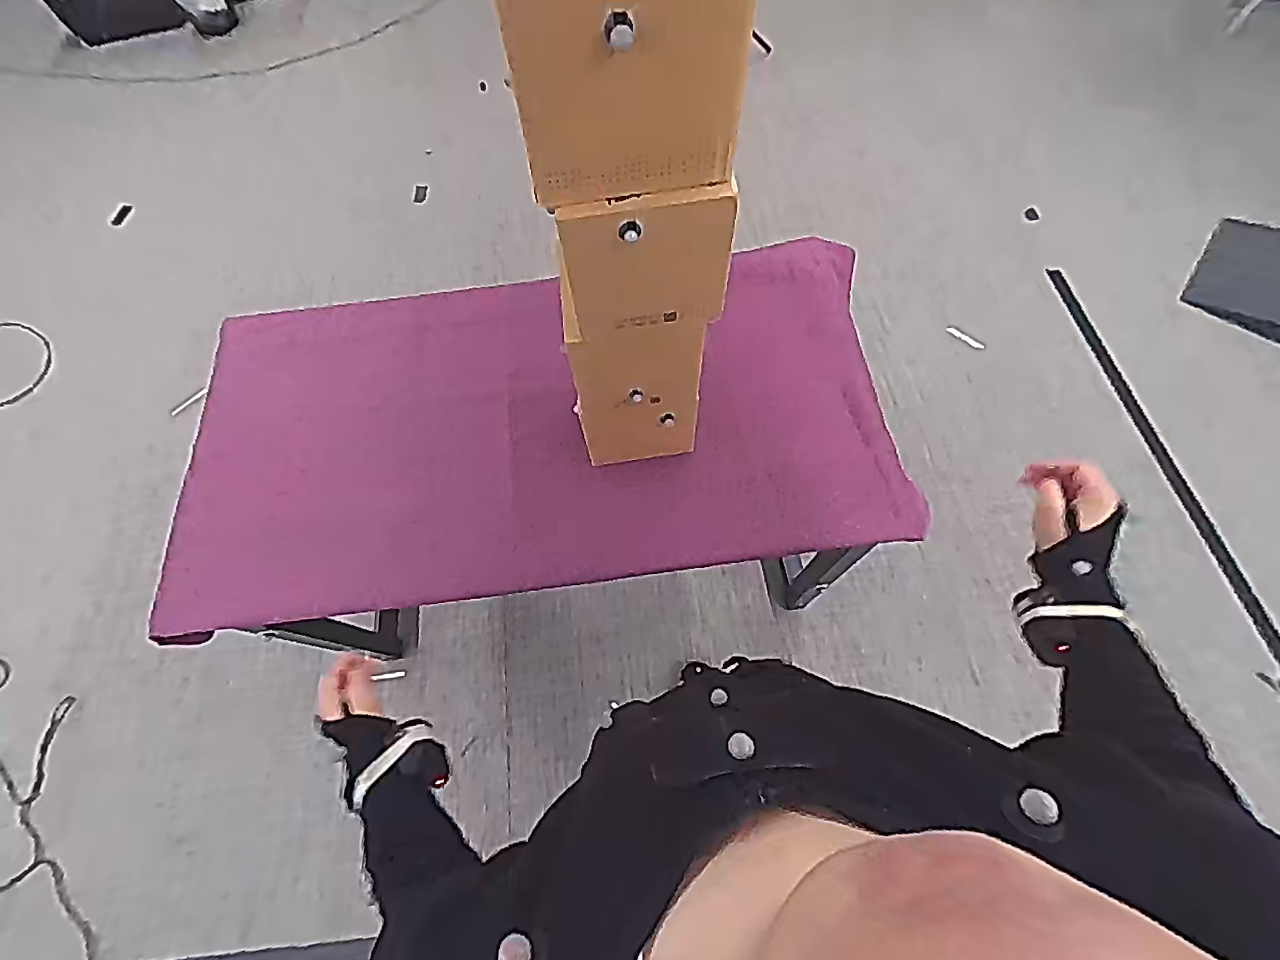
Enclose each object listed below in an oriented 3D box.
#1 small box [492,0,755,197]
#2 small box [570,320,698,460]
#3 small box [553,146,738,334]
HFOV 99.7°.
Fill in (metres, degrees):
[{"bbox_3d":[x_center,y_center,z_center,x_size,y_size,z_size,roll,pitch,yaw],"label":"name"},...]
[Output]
[{"bbox_3d":[-0.018,-0.361,0.433,0.179,0.176,0.168,-9,66,-1],"label":"small box"},{"bbox_3d":[-0.009,-0.149,0.874,0.179,0.176,0.168,-8,65,-1],"label":"small box"},{"bbox_3d":[-0.003,-0.285,0.576,0.168,0.176,0.179,-8,65,-1],"label":"small box"}]
